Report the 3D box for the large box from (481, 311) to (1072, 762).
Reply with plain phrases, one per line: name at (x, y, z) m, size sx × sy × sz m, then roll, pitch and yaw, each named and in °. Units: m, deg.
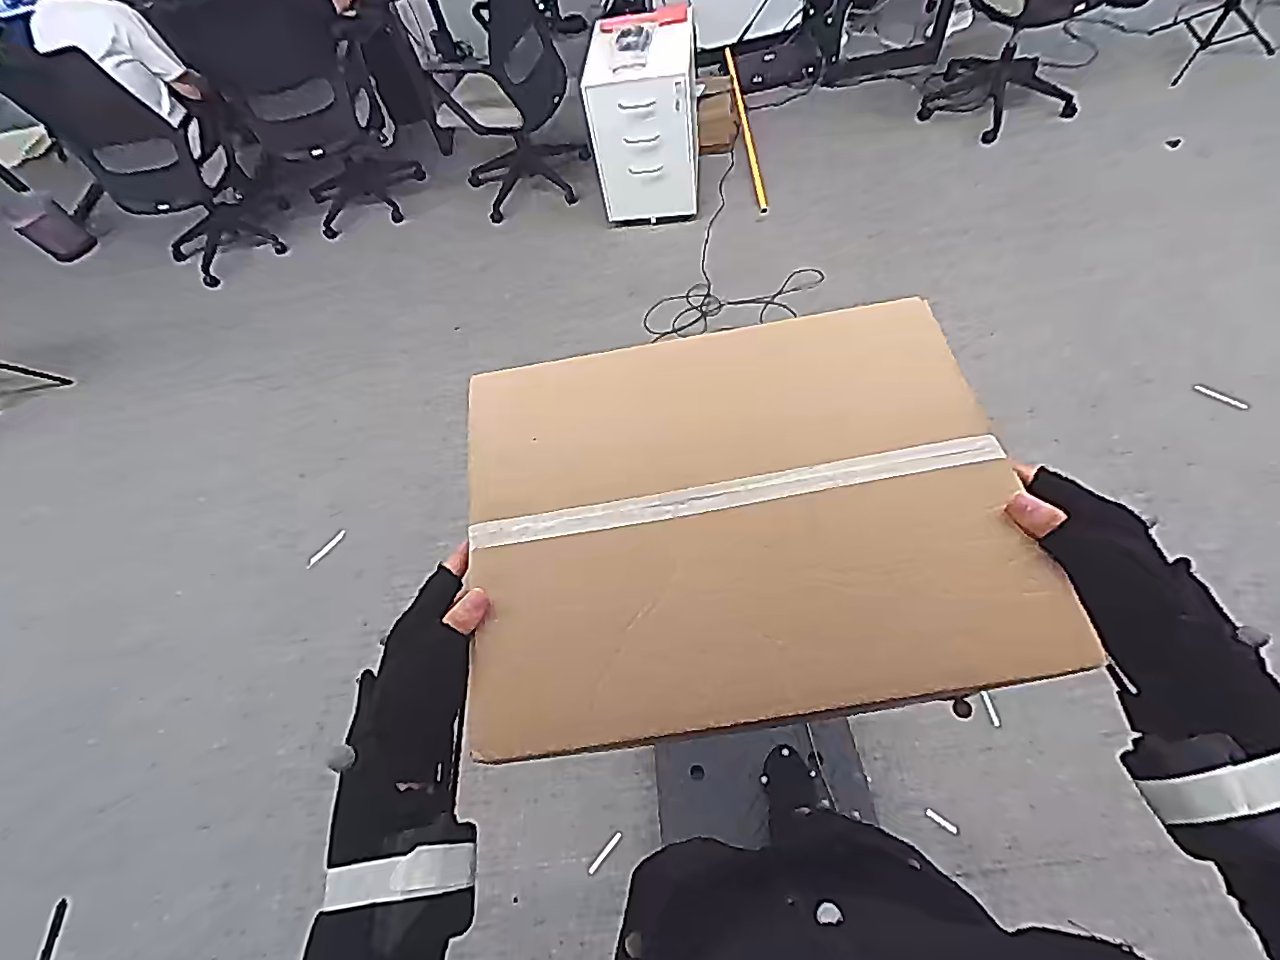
large box at (0.088, 0.081, 0.560) m, size 0.408 × 0.320 × 0.320 m, roll -10°, pitch 63°, yaw 2°
